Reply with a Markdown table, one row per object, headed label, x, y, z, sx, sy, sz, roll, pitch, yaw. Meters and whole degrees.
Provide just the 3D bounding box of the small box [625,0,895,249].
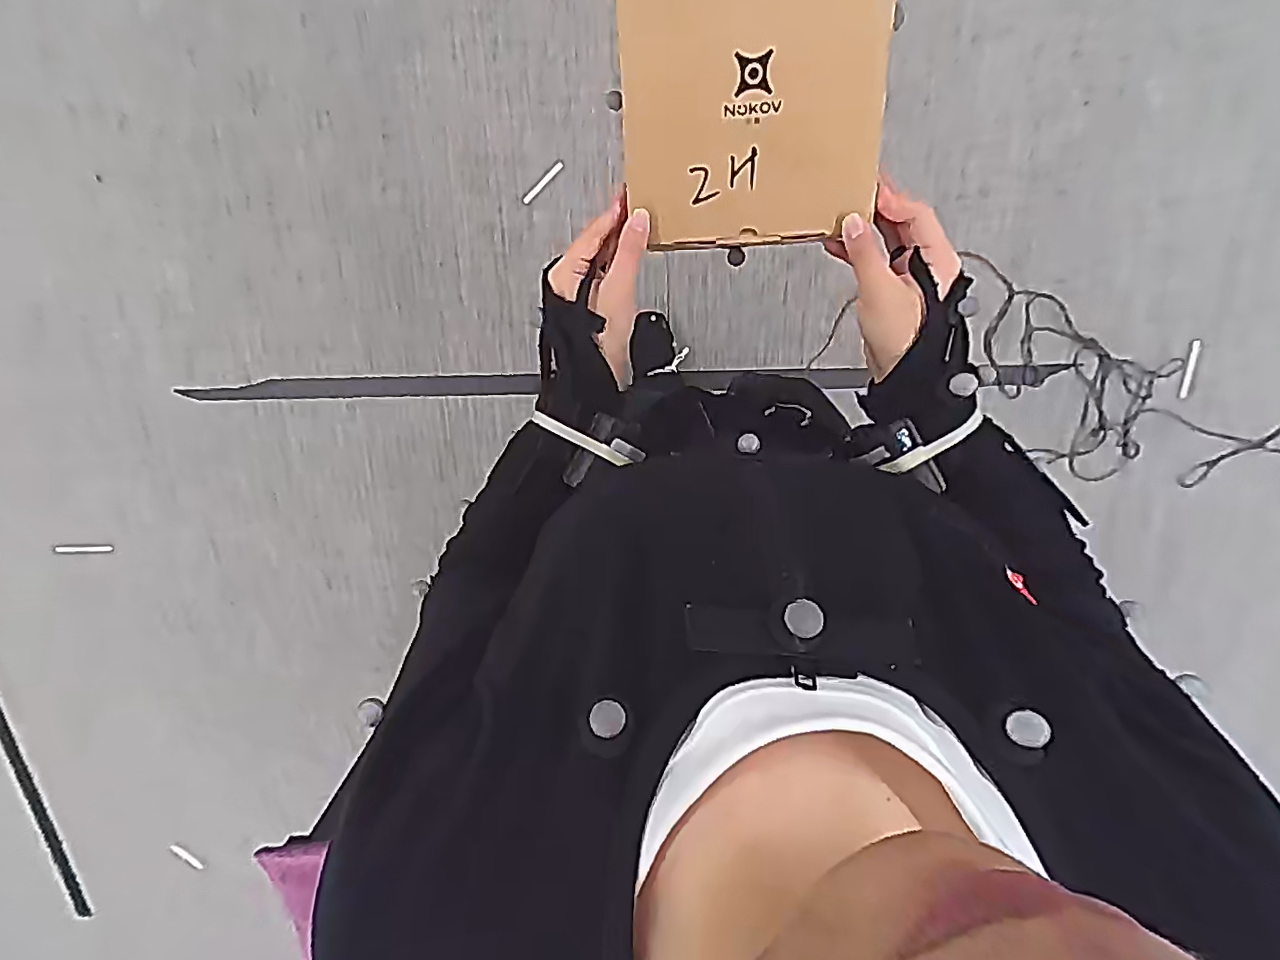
| label | x | y | z | sx | sy | sz | roll | pitch | yaw |
| --- | --- | --- | --- | --- | --- | --- | --- | --- | --- |
| small box | 0.079 | -0.280 | 0.418 | 0.168 | 0.176 | 0.179 | 0 | 112 | 6 |
